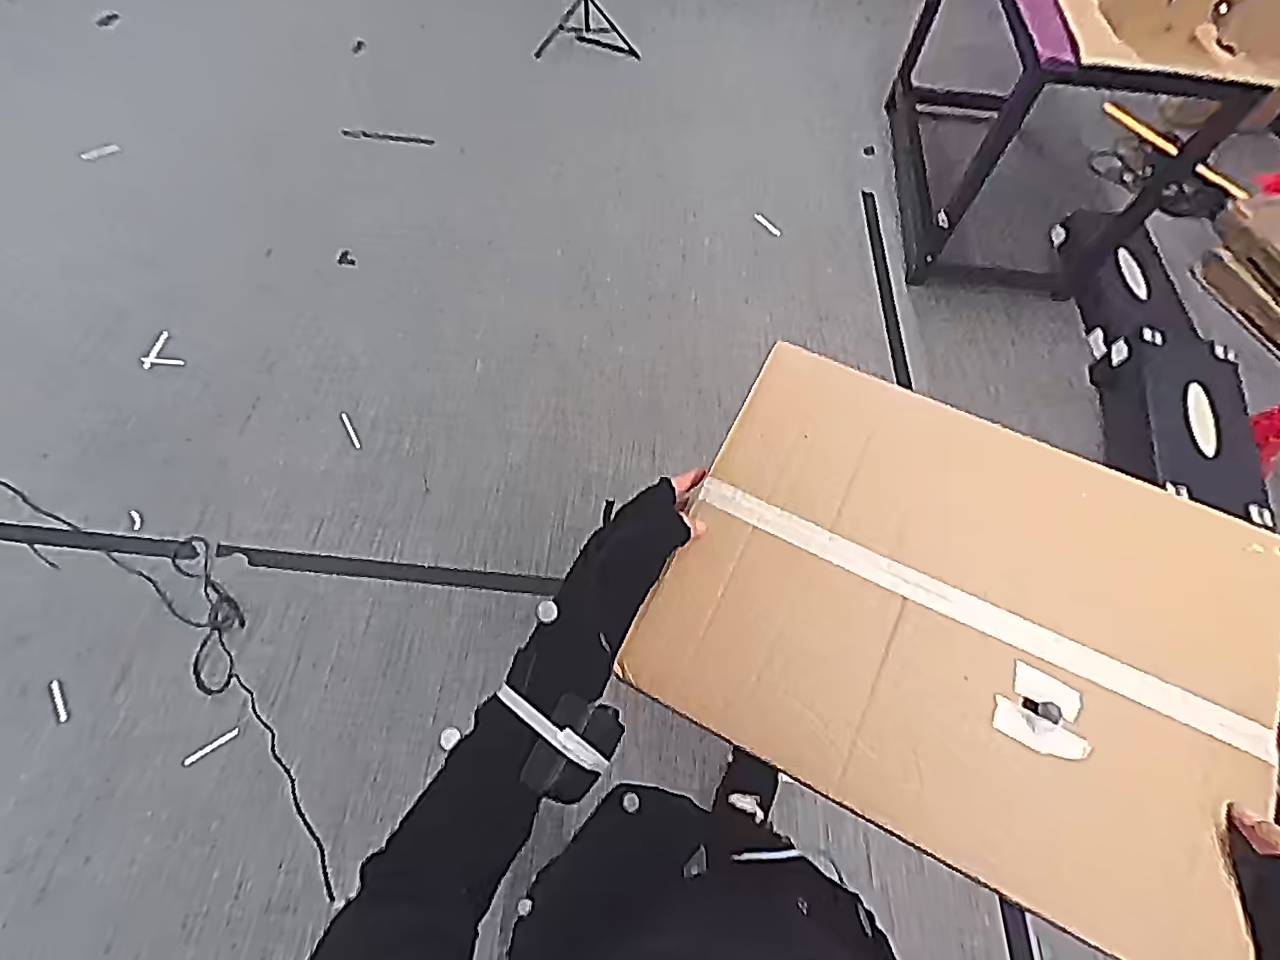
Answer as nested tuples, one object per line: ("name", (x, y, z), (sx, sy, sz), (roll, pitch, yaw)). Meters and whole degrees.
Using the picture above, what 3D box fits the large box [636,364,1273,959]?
("large box", (0.242, 0.152, 0.542), (0.408, 0.320, 0.320), (25, 73, 12))
